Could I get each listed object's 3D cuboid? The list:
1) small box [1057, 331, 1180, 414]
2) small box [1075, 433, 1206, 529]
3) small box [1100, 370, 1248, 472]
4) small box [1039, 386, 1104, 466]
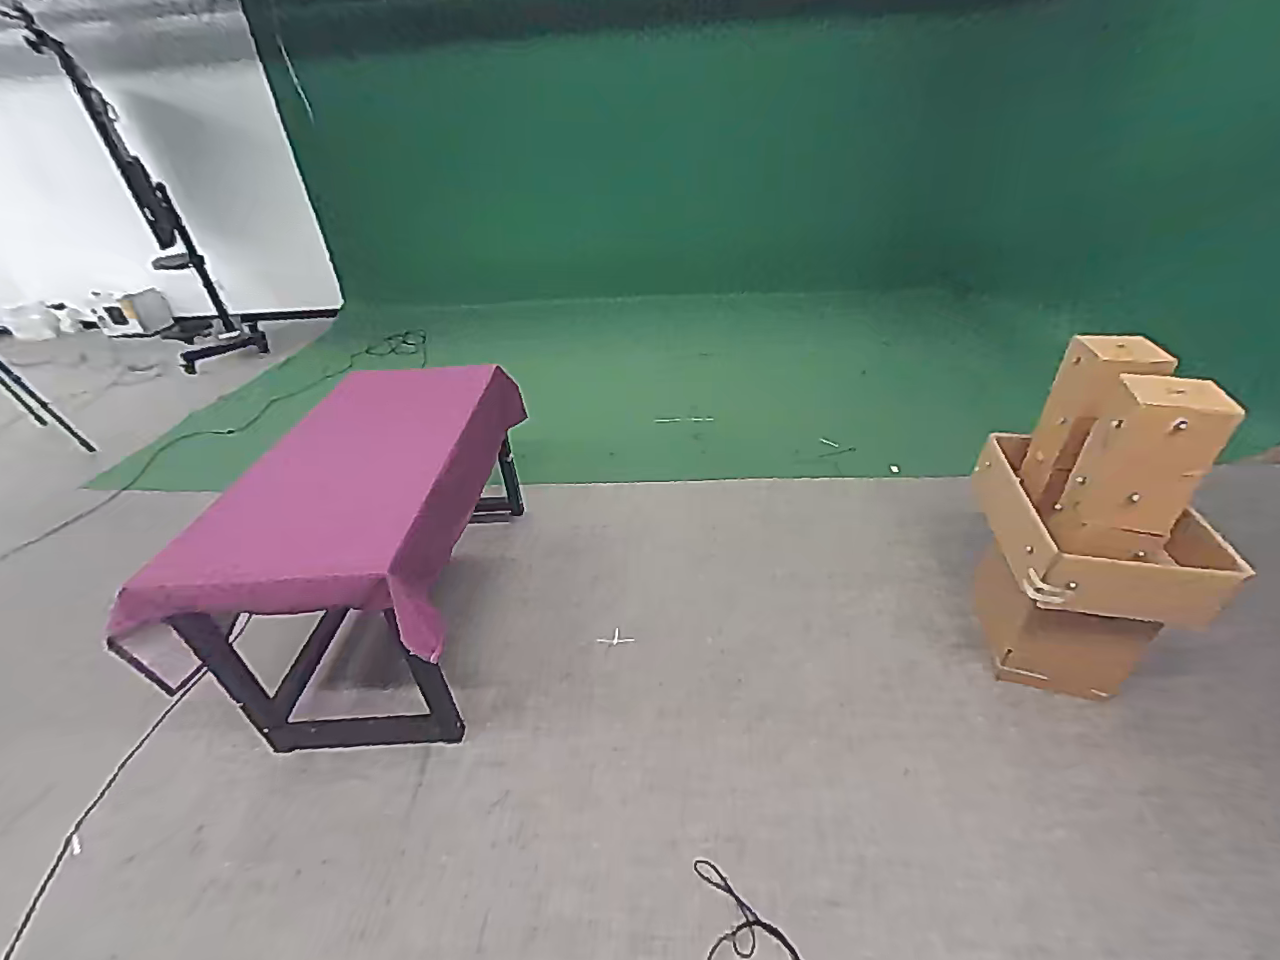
[{"bbox_3d":[1.267,-0.287,1.450,0.168,0.176,0.179,3,36,13],"label":"small box"},{"bbox_3d":[1.203,0.002,1.321,0.179,0.176,0.168,8,36,19],"label":"small box"},{"bbox_3d":[1.192,-0.134,1.231,0.179,0.176,0.168,10,37,19],"label":"small box"},{"bbox_3d":[1.282,-0.153,1.544,0.168,0.176,0.179,4,36,13],"label":"small box"}]
